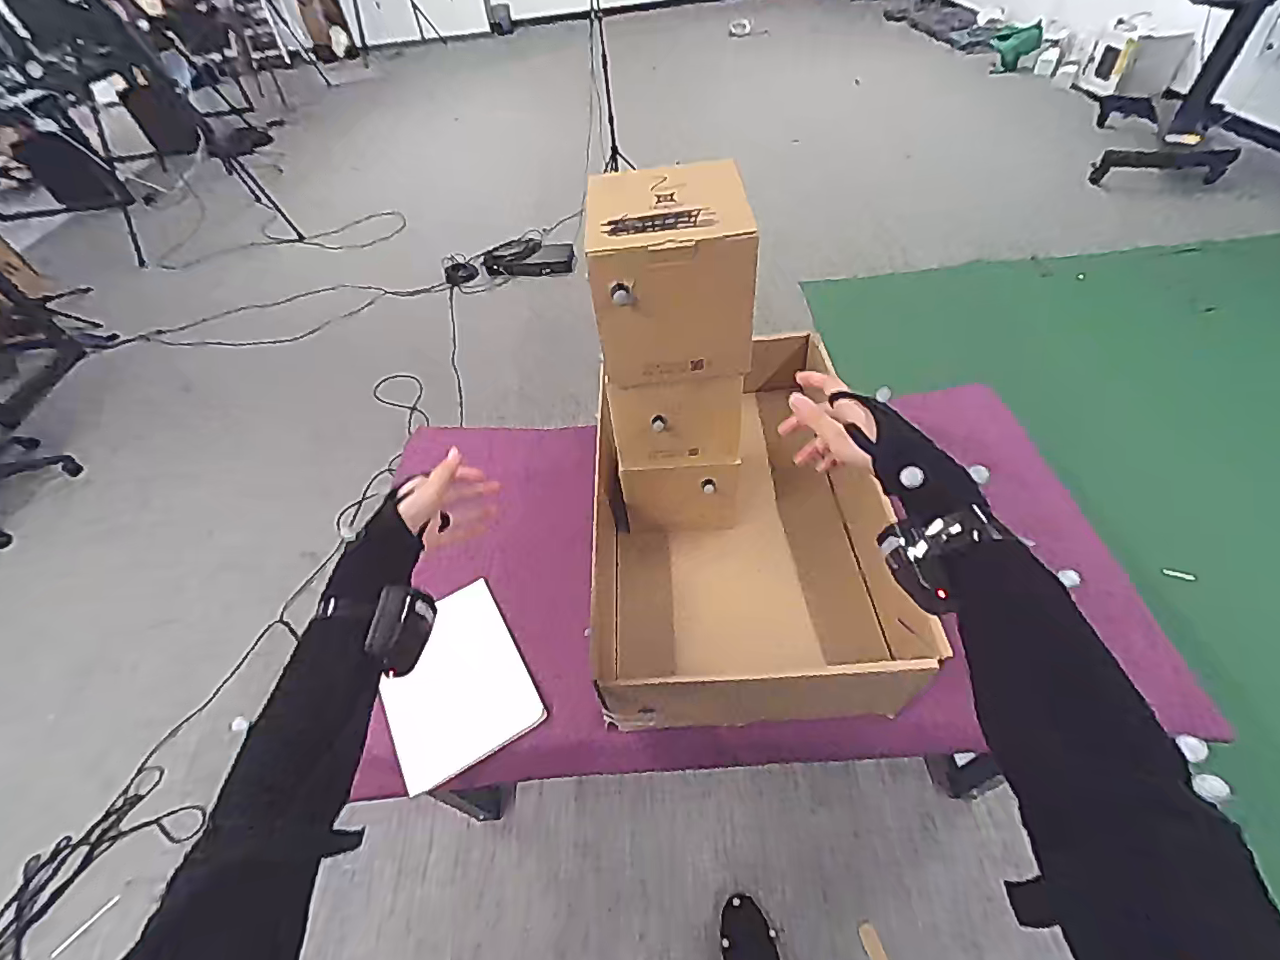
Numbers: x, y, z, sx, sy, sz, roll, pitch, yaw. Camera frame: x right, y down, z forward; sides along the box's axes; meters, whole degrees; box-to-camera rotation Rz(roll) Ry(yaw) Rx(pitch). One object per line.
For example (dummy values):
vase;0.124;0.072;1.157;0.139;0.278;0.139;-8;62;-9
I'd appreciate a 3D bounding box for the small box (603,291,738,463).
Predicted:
small box;0.045;-0.135;0.752;0.168;0.176;0.179;-4;50;4
